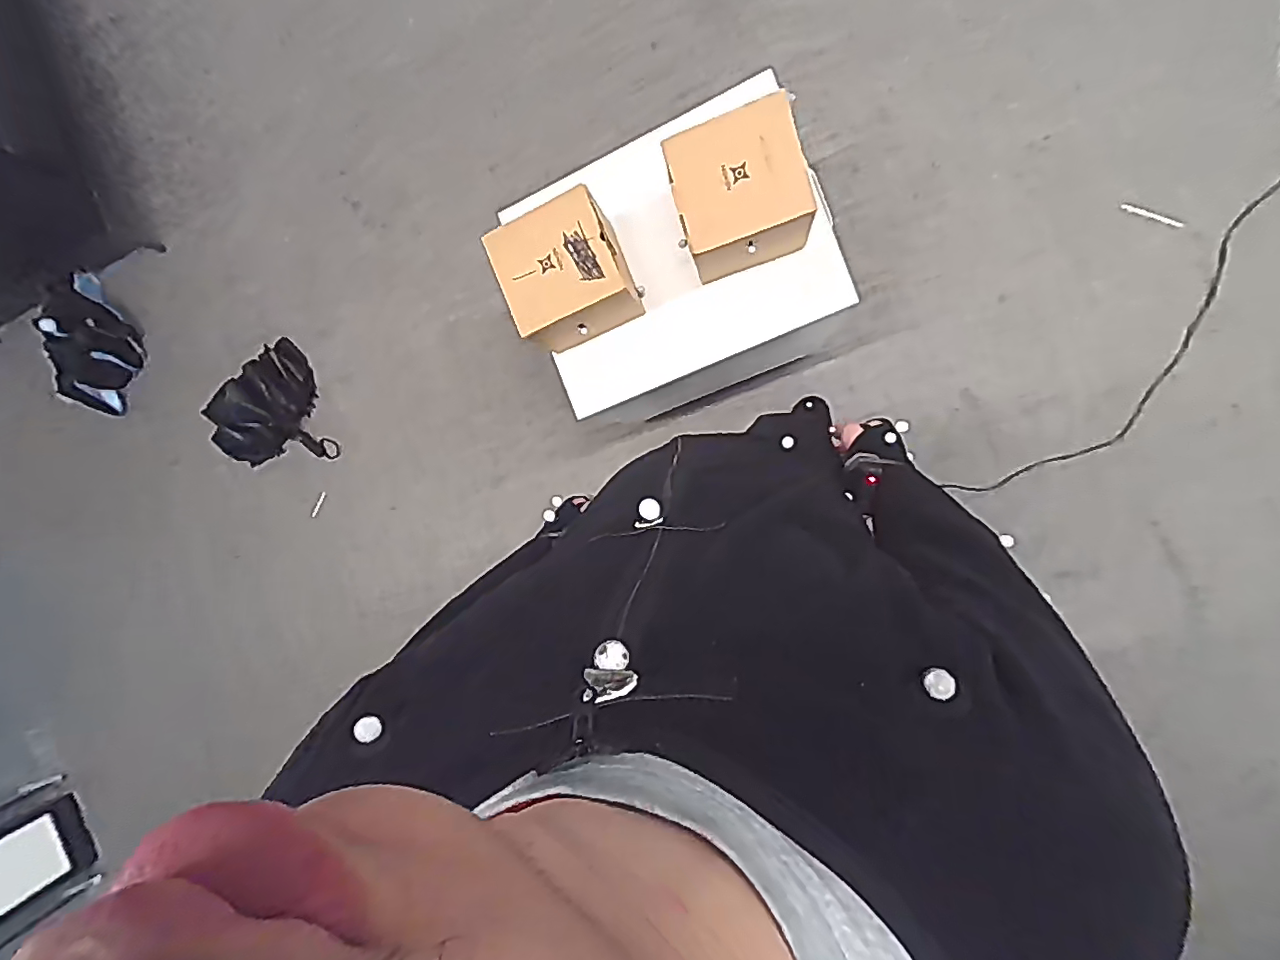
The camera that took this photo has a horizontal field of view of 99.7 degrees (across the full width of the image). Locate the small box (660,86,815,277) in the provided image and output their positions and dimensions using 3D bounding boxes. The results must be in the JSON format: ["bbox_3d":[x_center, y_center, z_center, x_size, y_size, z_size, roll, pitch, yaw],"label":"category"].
[{"bbox_3d":[0.145,-0.425,0.806,0.179,0.176,0.168,-16,94,12],"label":"small box"}]

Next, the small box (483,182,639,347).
[{"bbox_3d":[-0.112,-0.329,0.865,0.179,0.176,0.168,-22,91,13],"label":"small box"}]
